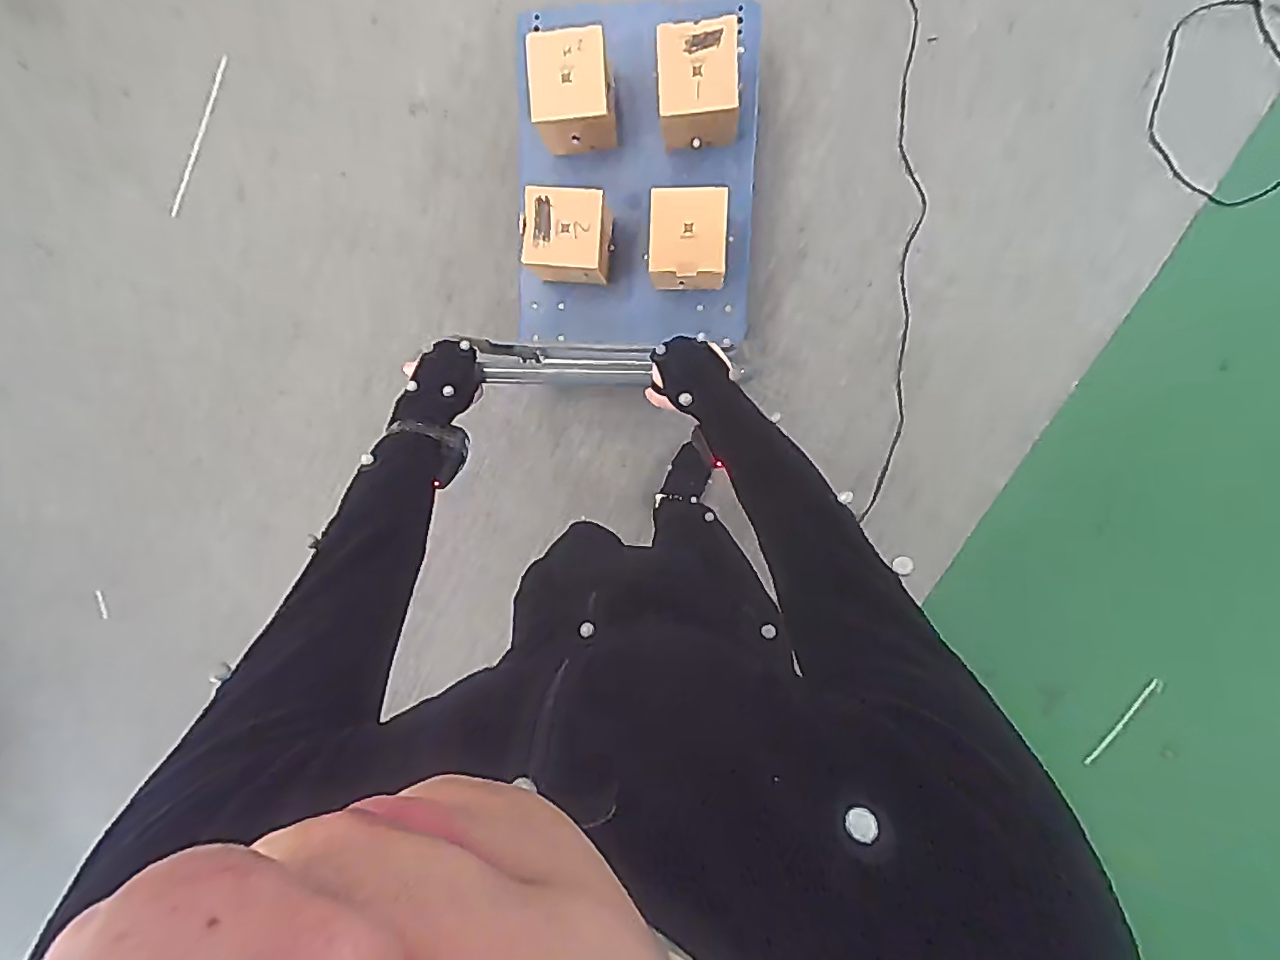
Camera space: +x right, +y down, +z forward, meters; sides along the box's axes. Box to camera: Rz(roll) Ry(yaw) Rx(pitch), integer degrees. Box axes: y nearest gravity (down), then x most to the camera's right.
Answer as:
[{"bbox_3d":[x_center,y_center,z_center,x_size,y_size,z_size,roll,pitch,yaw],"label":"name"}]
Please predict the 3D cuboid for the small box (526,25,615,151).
[{"bbox_3d":[-0.149,-0.864,1.212,0.168,0.176,0.179,-1,98,5],"label":"small box"}]

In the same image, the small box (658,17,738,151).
[{"bbox_3d":[0.126,-0.859,1.188,0.168,0.176,0.179,-1,99,6],"label":"small box"}]

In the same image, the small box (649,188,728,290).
[{"bbox_3d":[0.108,-0.546,1.238,0.168,0.176,0.179,2,99,5],"label":"small box"}]
